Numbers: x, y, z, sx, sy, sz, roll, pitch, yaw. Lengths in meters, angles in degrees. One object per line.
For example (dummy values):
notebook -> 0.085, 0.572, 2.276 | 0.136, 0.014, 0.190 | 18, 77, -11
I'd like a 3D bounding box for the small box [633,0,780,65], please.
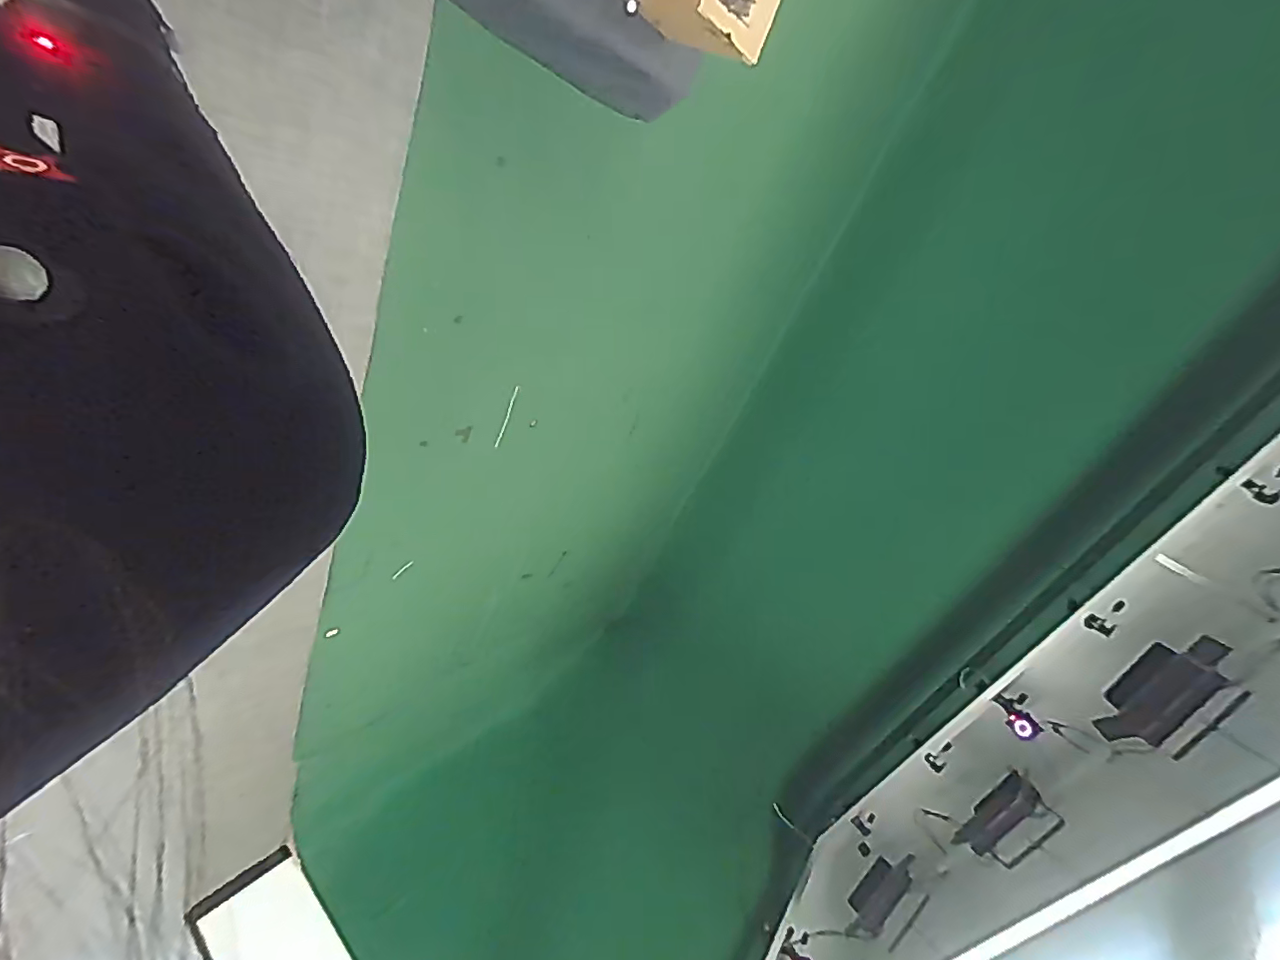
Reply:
small box -> 0.089, -0.707, 0.719 | 0.168, 0.176, 0.179 | -18, 139, -53
